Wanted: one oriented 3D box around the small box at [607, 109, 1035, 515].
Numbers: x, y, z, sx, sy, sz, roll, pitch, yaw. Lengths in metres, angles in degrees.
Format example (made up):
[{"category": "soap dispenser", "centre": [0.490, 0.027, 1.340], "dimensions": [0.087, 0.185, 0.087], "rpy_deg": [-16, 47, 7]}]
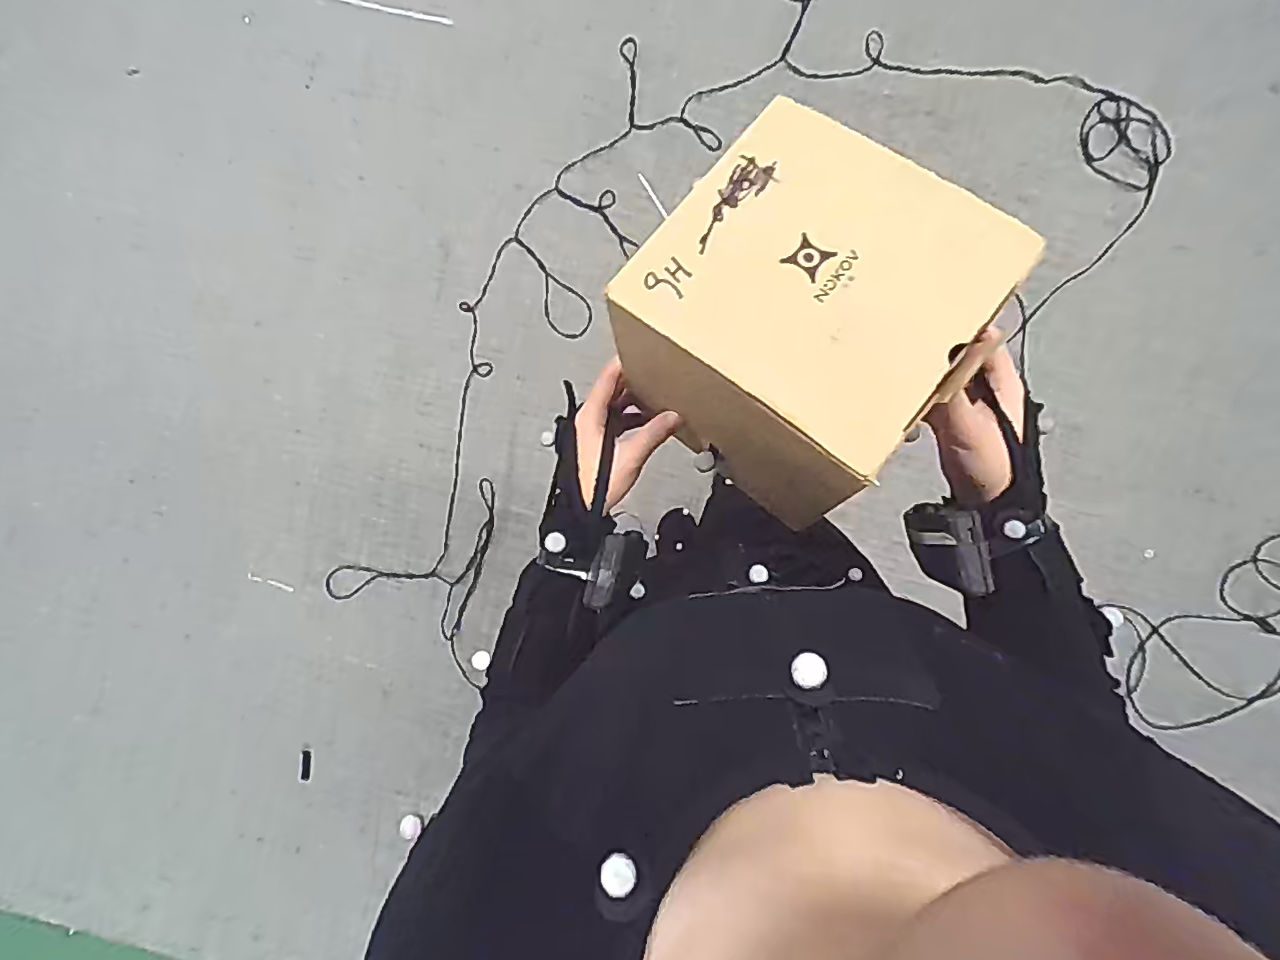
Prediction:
[{"category": "small box", "centre": [0.103, -0.092, 0.375], "dimensions": [0.179, 0.176, 0.168], "rpy_deg": [39, 82, 12]}]
